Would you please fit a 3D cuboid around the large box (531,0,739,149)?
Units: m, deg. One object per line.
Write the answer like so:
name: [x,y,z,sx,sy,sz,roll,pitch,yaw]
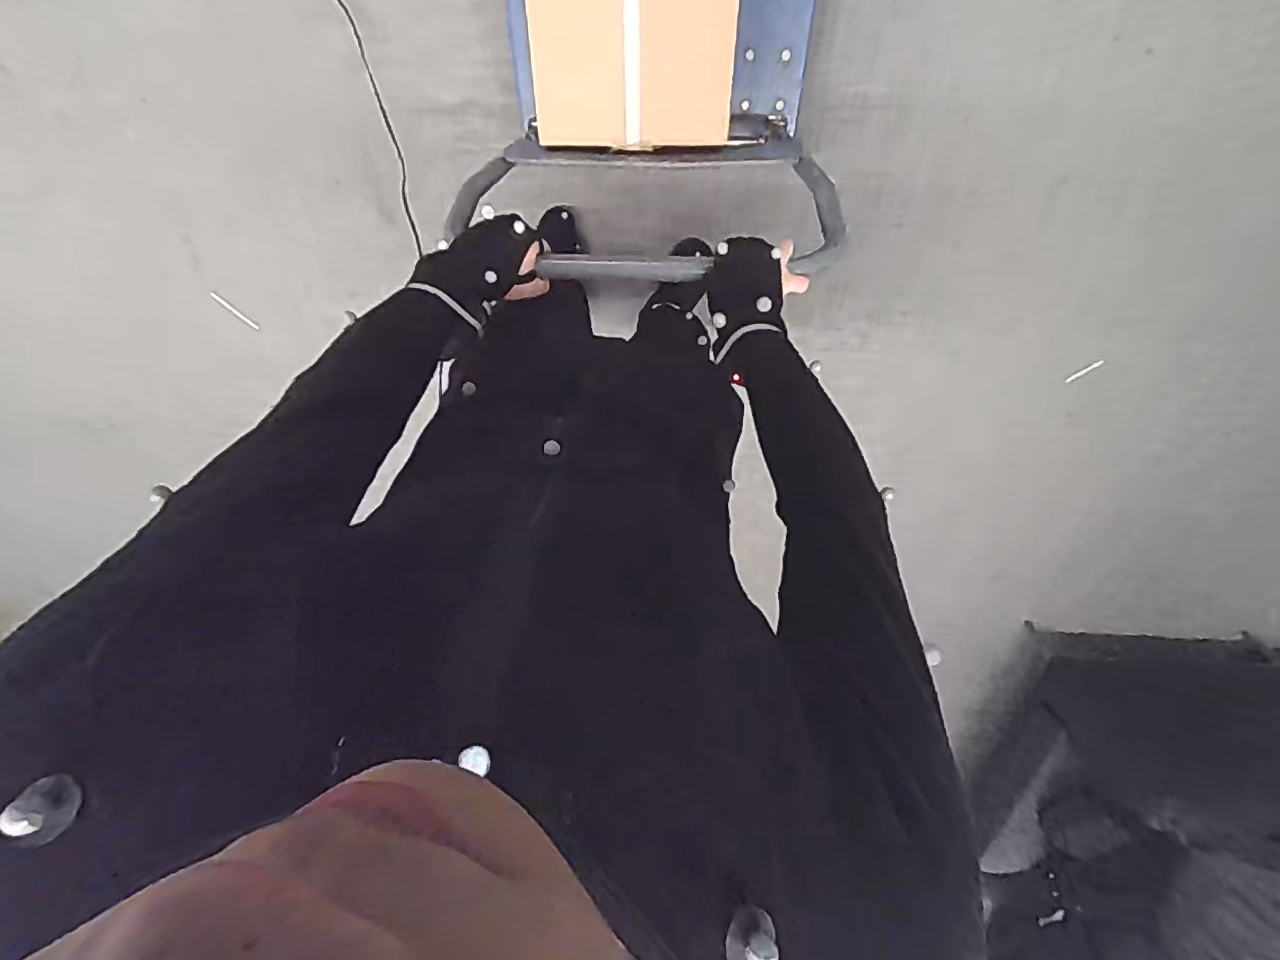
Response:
large box: [0.002,-0.804,0.912,0.320,0.320,0.408,2,125,3]
